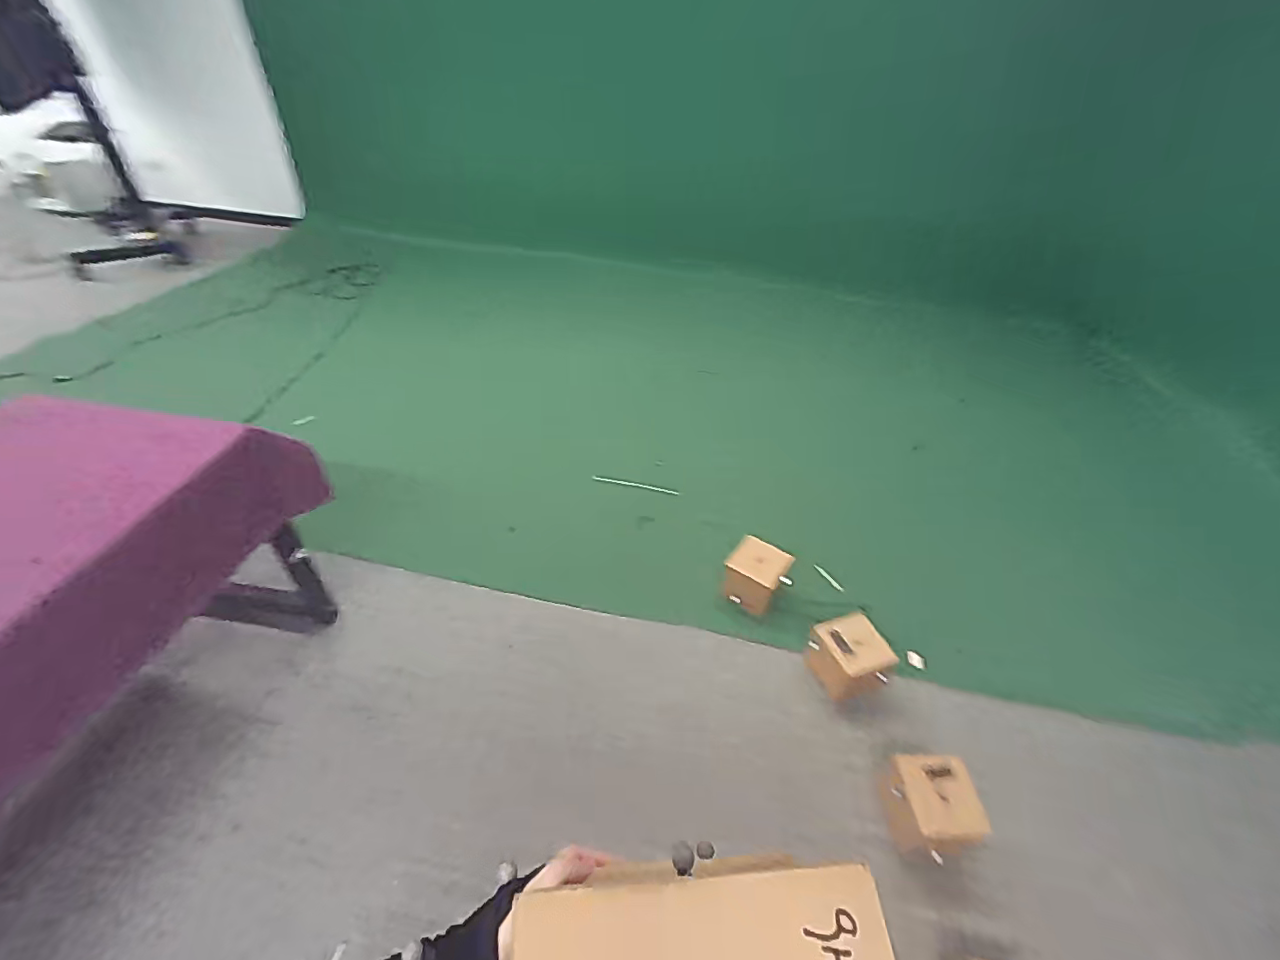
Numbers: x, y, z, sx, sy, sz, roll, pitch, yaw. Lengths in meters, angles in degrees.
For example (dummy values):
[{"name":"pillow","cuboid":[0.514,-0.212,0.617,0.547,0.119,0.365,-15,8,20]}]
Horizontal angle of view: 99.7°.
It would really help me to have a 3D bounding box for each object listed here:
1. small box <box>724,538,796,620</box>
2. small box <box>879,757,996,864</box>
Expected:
[{"name":"small box","cuboid":[0.403,0.338,1.843,0.168,0.176,0.179,27,46,26]},{"name":"small box","cuboid":[0.709,0.803,1.315,0.168,0.176,0.179,3,41,-1]}]
